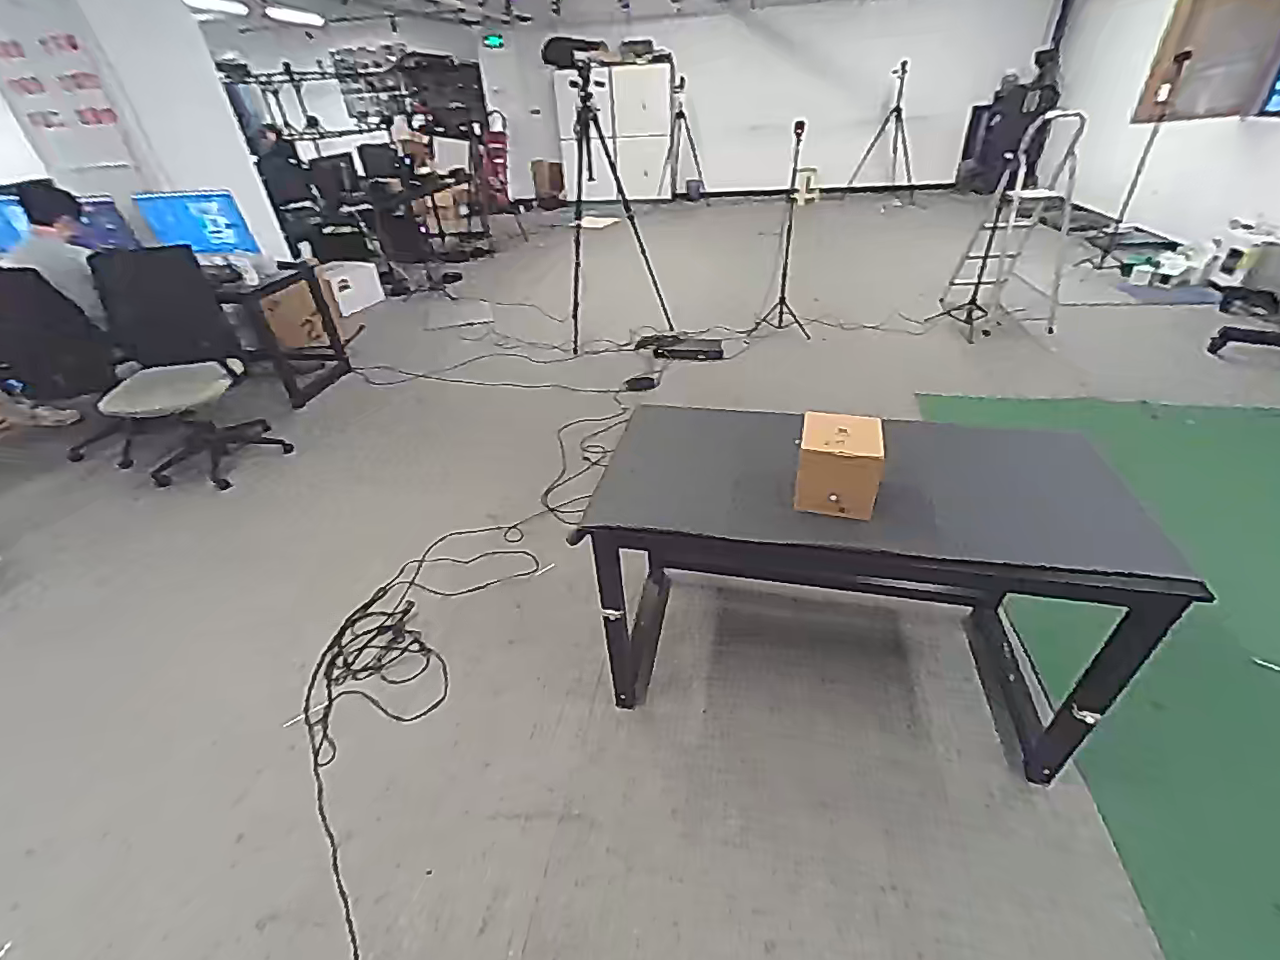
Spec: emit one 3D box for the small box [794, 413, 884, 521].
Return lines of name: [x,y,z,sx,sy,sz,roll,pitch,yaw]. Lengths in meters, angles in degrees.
small box: [0.447,-0.032,1.227,0.168,0.176,0.179,7,36,16]
